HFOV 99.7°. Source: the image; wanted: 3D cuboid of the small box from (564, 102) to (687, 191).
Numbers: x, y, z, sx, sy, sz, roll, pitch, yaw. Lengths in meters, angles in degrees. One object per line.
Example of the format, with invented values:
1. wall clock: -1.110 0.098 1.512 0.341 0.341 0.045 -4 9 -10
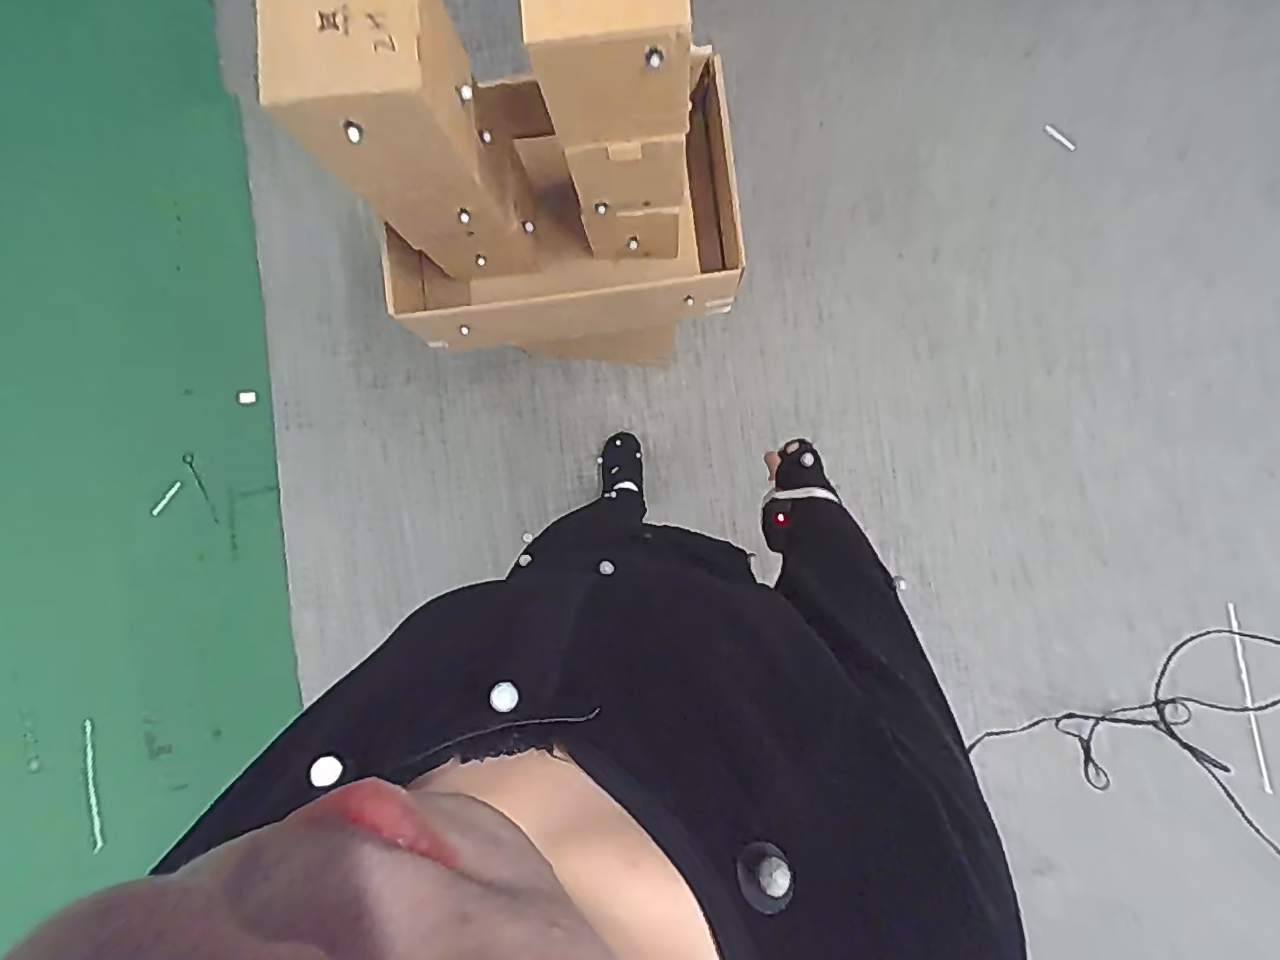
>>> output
1. small box: -0.016 -0.549 0.791 0.168 0.176 0.179 -3 88 4

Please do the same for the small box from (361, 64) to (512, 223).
1. small box: -0.299 -0.507 0.810 0.168 0.176 0.179 -5 88 3

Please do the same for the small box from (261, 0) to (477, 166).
1. small box: -0.310 -0.503 0.646 0.179 0.176 0.168 -2 89 3

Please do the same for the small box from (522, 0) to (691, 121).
1. small box: -0.032 -0.554 0.629 0.179 0.176 0.168 -4 88 3
